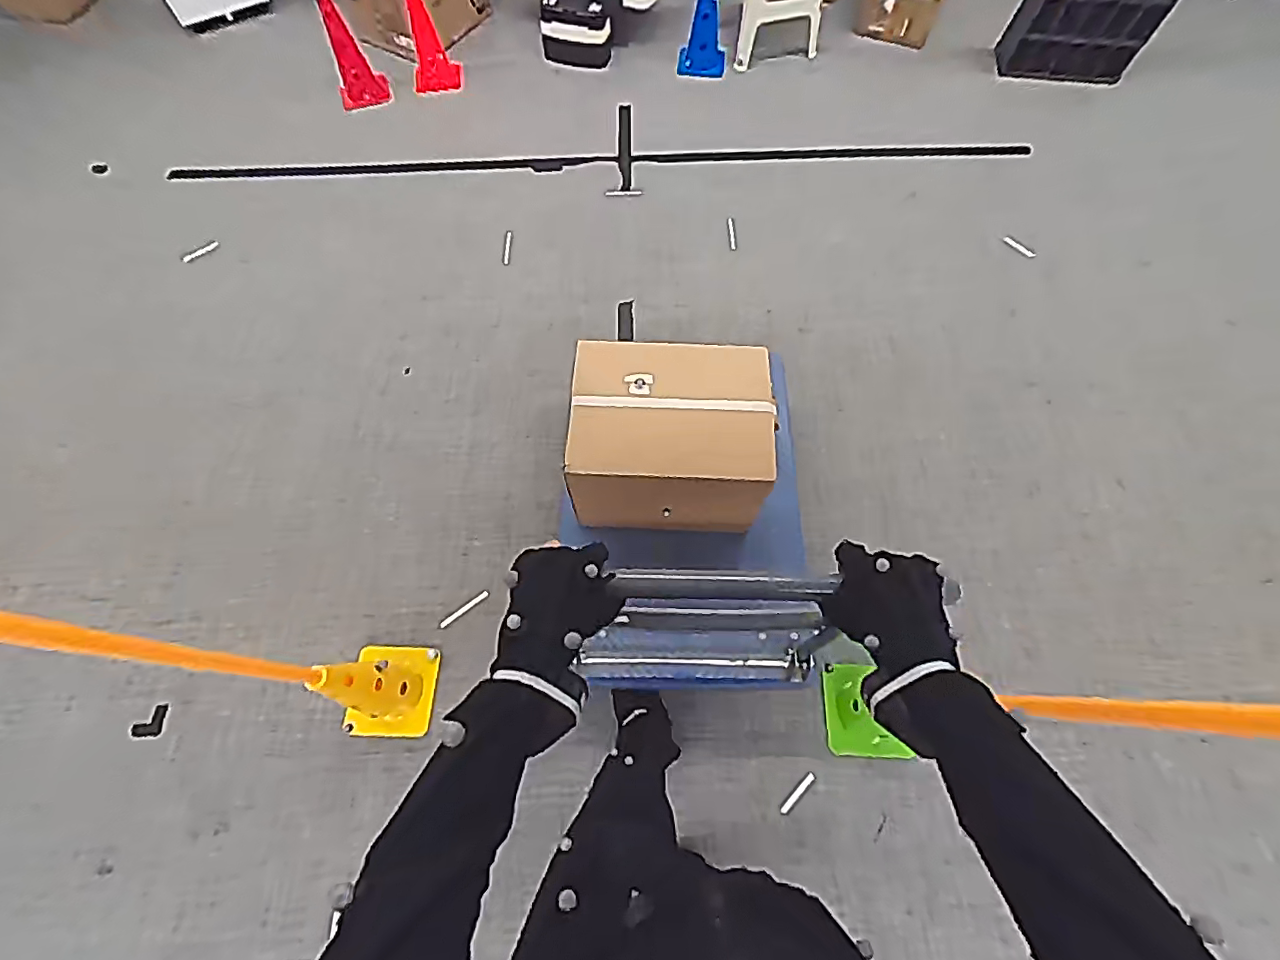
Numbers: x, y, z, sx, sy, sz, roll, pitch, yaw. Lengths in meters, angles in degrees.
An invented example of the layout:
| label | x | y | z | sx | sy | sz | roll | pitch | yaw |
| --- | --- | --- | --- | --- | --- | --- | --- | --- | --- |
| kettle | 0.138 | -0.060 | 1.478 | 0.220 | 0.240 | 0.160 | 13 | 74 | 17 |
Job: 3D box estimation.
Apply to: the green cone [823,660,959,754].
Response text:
| label | x | y | z | sx | sy | sz | roll | pitch | yaw |
| --- | --- | --- | --- | --- | --- | --- | --- | --- | --- |
| green cone | 0.543 | 0.464 | 1.127 | 0.202 | 0.368 | 0.200 | 3 | 66 | 0 |

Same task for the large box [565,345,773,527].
| label | x | y | z | sx | sy | sz | roll | pitch | yaw |
| --- | --- | --- | --- | --- | --- | --- | --- | --- | --- |
| large box | 0.063 | -0.085 | 1.221 | 0.408 | 0.320 | 0.320 | 2 | 66 | 2 |
